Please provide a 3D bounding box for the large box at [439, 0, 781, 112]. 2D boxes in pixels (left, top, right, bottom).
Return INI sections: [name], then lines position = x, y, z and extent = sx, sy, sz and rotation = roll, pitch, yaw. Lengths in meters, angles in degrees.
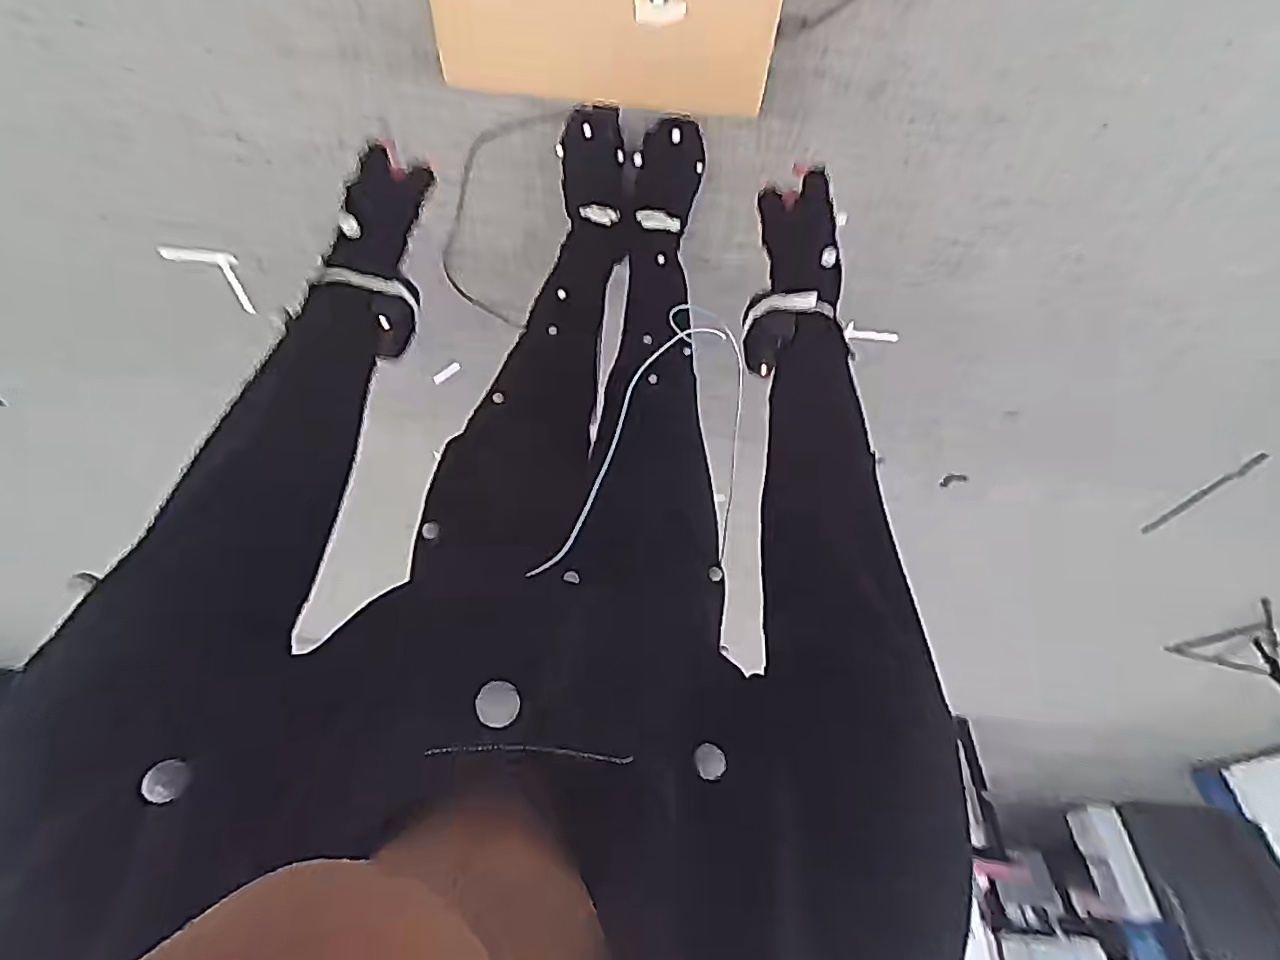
[large box]
position = -0.026, -0.701, 0.674
extent = 0.408, 0.320, 0.320
rotation = 6, 142, 0
